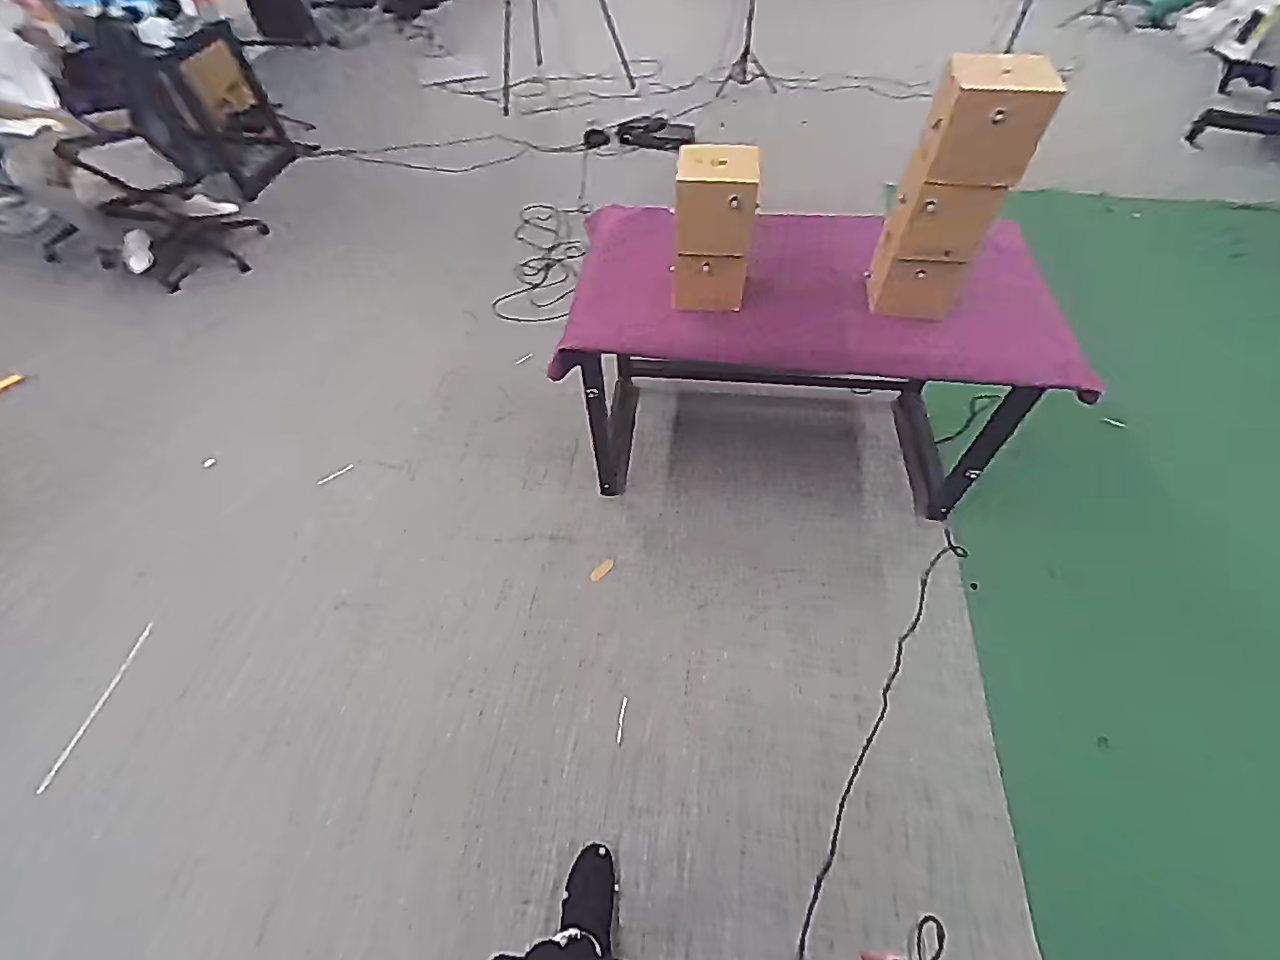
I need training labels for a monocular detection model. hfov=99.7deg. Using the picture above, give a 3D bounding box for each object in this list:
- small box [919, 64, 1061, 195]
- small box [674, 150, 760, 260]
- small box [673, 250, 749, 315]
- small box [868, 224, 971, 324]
[{"bbox_3d":[0.661,-0.679,1.051,0.179,0.176,0.168,9,56,8],"label":"small box"},{"bbox_3d":[0.172,-0.621,1.230,0.179,0.176,0.168,5,54,6],"label":"small box"},{"bbox_3d":[0.177,-0.537,1.373,0.179,0.176,0.168,3,55,5],"label":"small box"},{"bbox_3d":[0.672,-0.502,1.327,0.179,0.176,0.168,7,55,7],"label":"small box"}]
